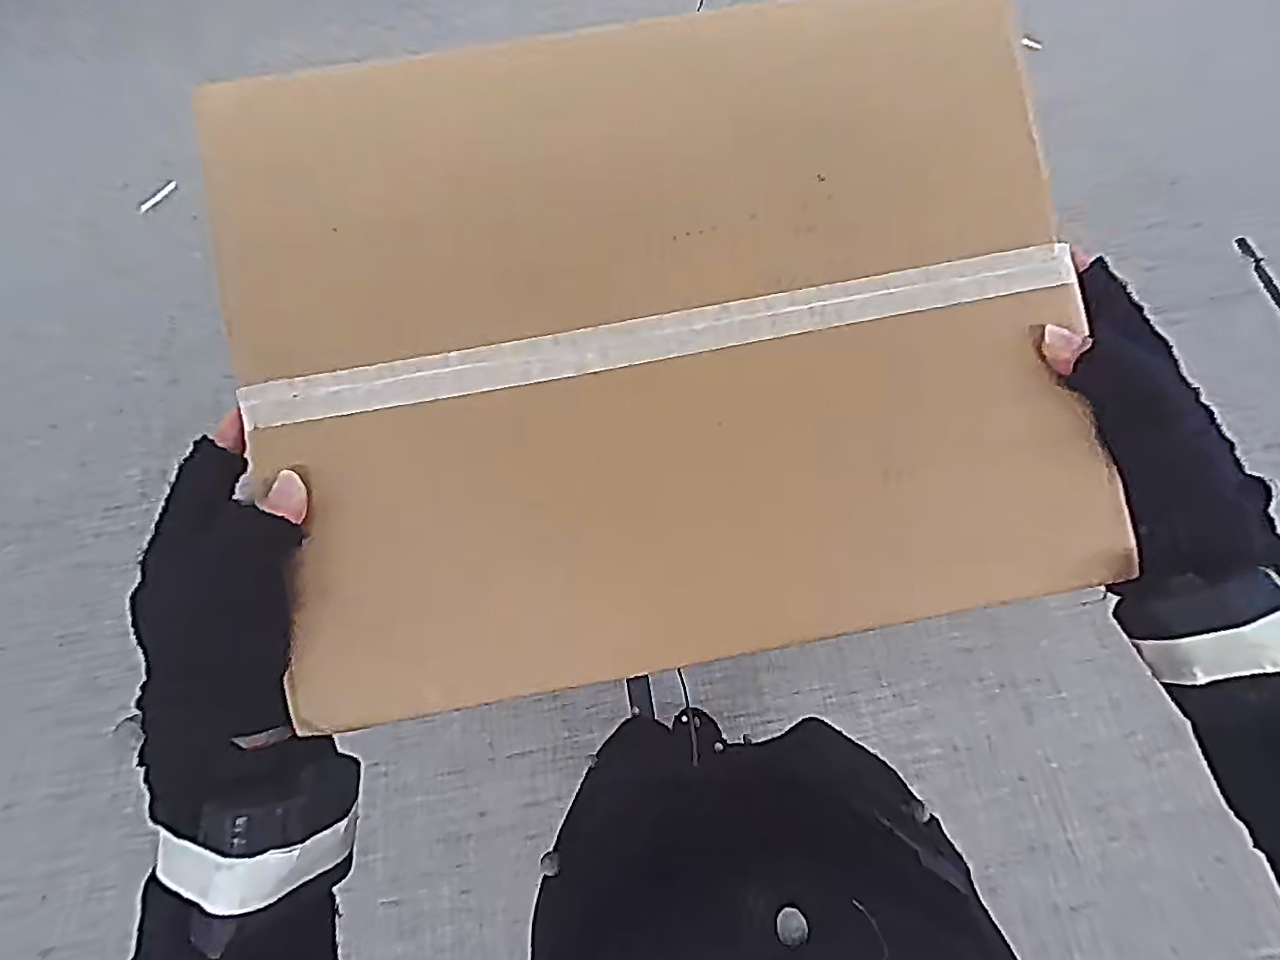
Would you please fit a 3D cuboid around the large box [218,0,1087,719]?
[{"bbox_3d":[0.007,-0.066,0.421,0.408,0.320,0.320,-10,88,-2],"label":"large box"}]
